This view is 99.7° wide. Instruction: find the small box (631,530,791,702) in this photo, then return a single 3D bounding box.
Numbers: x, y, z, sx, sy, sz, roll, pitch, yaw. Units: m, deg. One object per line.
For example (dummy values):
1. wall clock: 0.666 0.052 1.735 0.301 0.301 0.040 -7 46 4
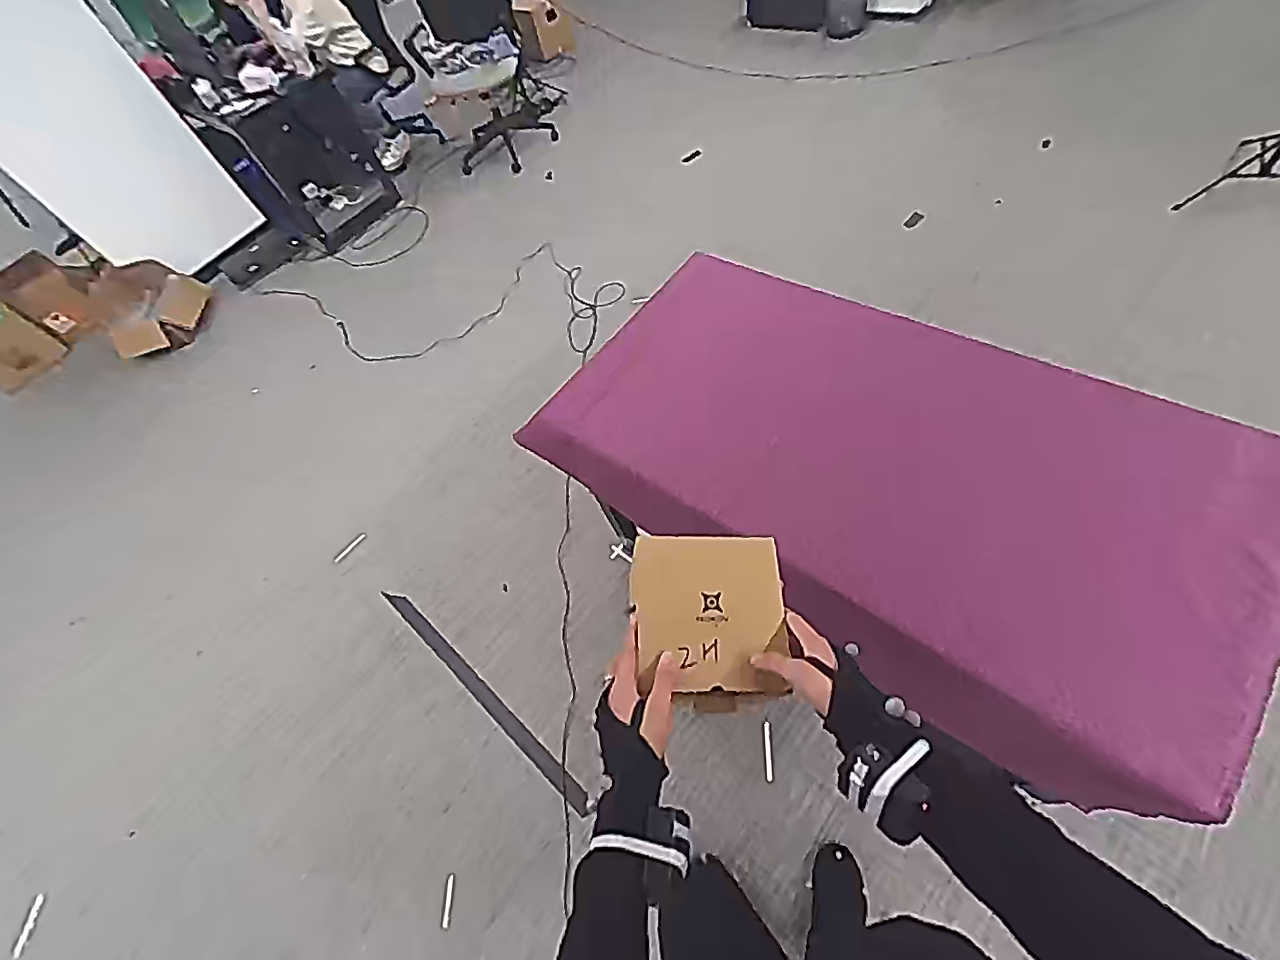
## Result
1. small box: 0.075 0.175 0.676 0.168 0.176 0.179 1 63 -2
